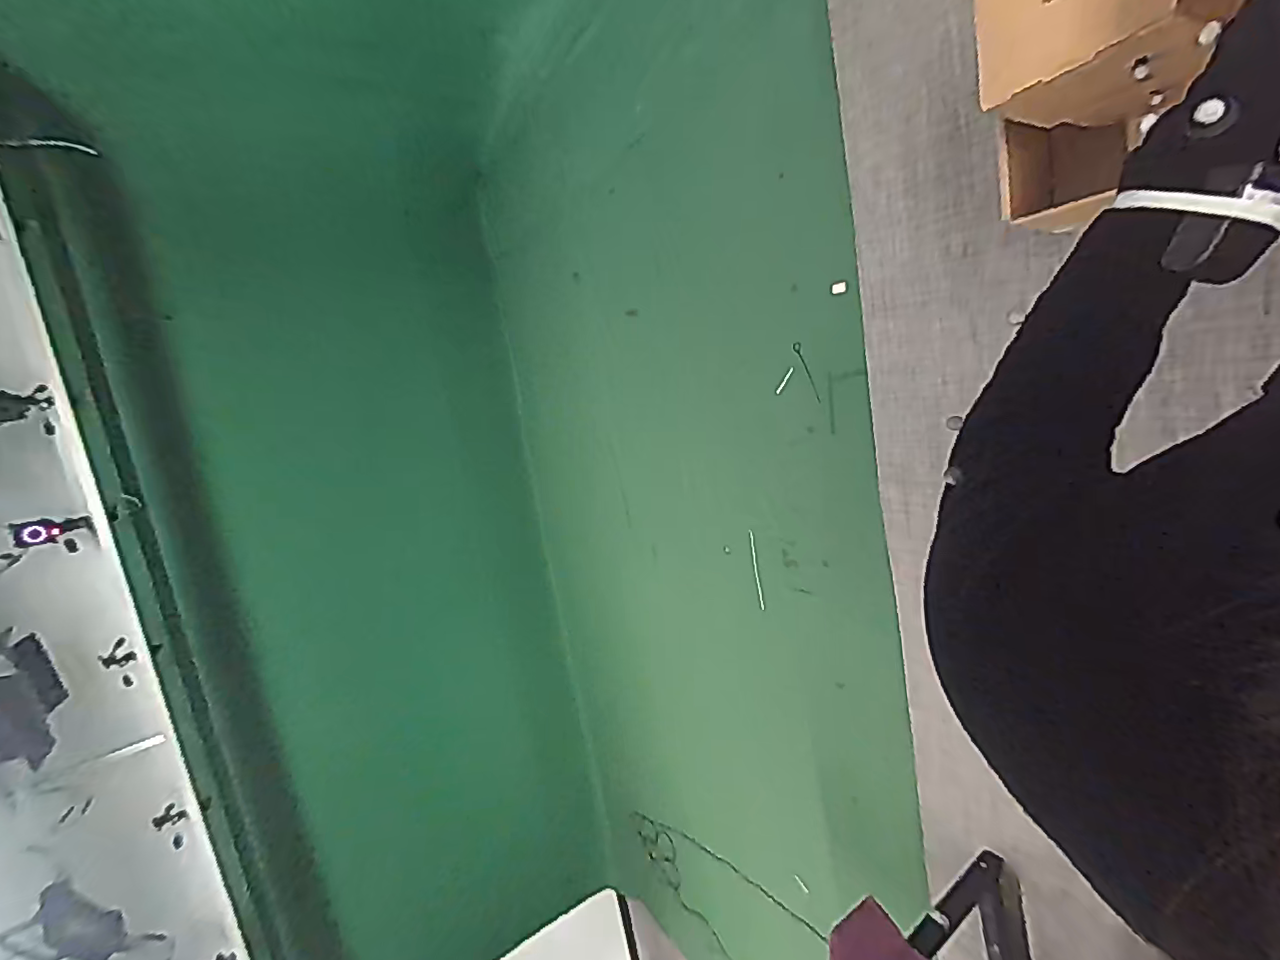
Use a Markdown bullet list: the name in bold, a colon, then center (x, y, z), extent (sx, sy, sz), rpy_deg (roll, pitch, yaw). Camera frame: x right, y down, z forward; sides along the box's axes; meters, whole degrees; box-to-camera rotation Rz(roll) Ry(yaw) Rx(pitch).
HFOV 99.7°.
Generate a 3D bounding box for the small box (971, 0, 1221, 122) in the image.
- **small box**: center (0.484, -0.512, 0.577), extent (0.168, 0.176, 0.179), rpy_deg (6, 107, 57)
